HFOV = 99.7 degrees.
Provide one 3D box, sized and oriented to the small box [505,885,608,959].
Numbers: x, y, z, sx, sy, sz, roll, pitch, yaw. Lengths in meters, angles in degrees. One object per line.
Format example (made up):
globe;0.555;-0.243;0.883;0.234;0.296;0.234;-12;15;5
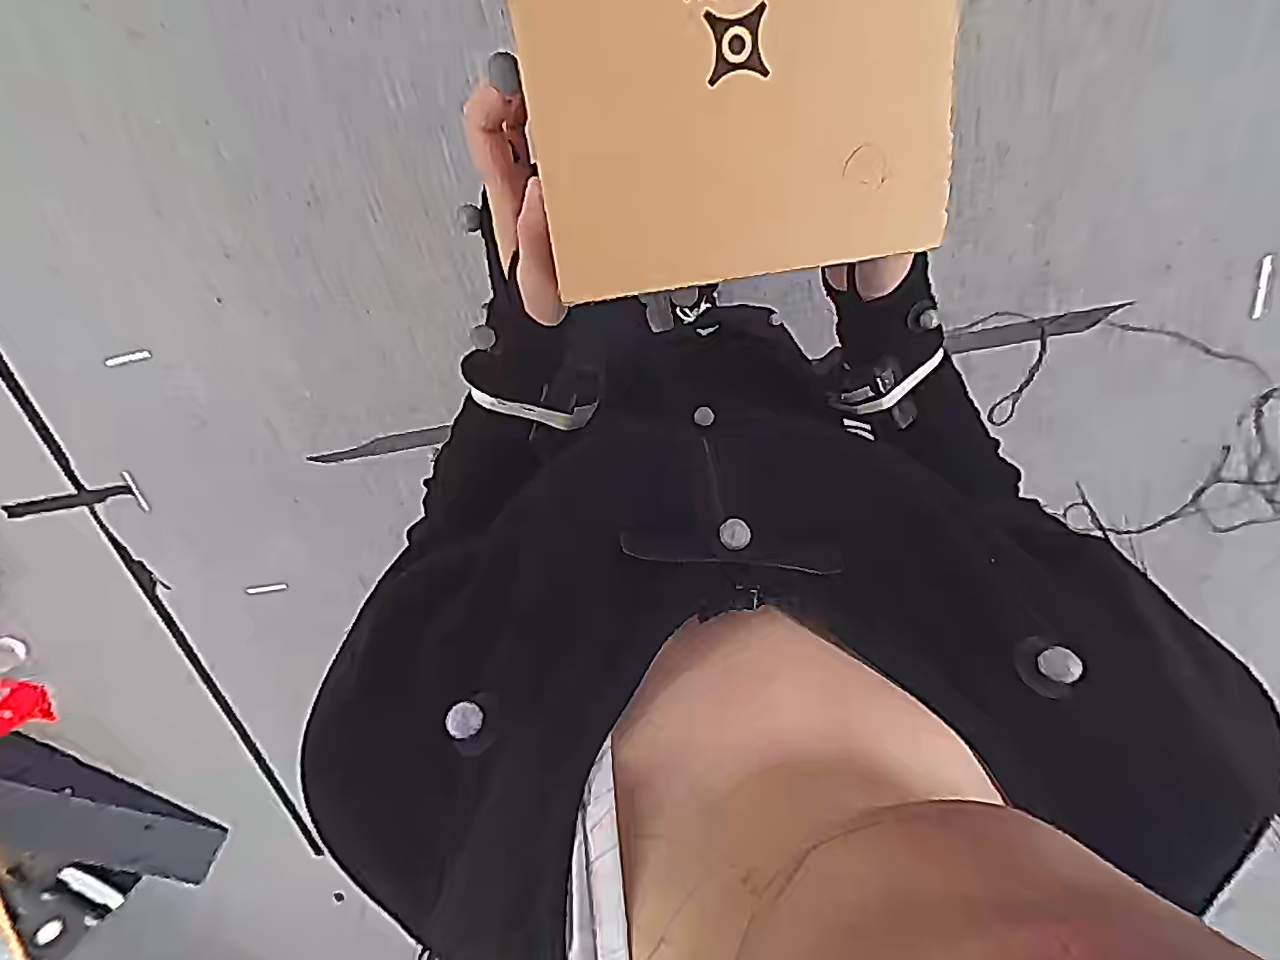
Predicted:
small box;-0.164;0.968;1.100;0.168;0.176;0.179;-4;112;7

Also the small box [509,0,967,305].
small box;0.035;-0.195;0.271;0.168;0.176;0.179;-8;112;1
